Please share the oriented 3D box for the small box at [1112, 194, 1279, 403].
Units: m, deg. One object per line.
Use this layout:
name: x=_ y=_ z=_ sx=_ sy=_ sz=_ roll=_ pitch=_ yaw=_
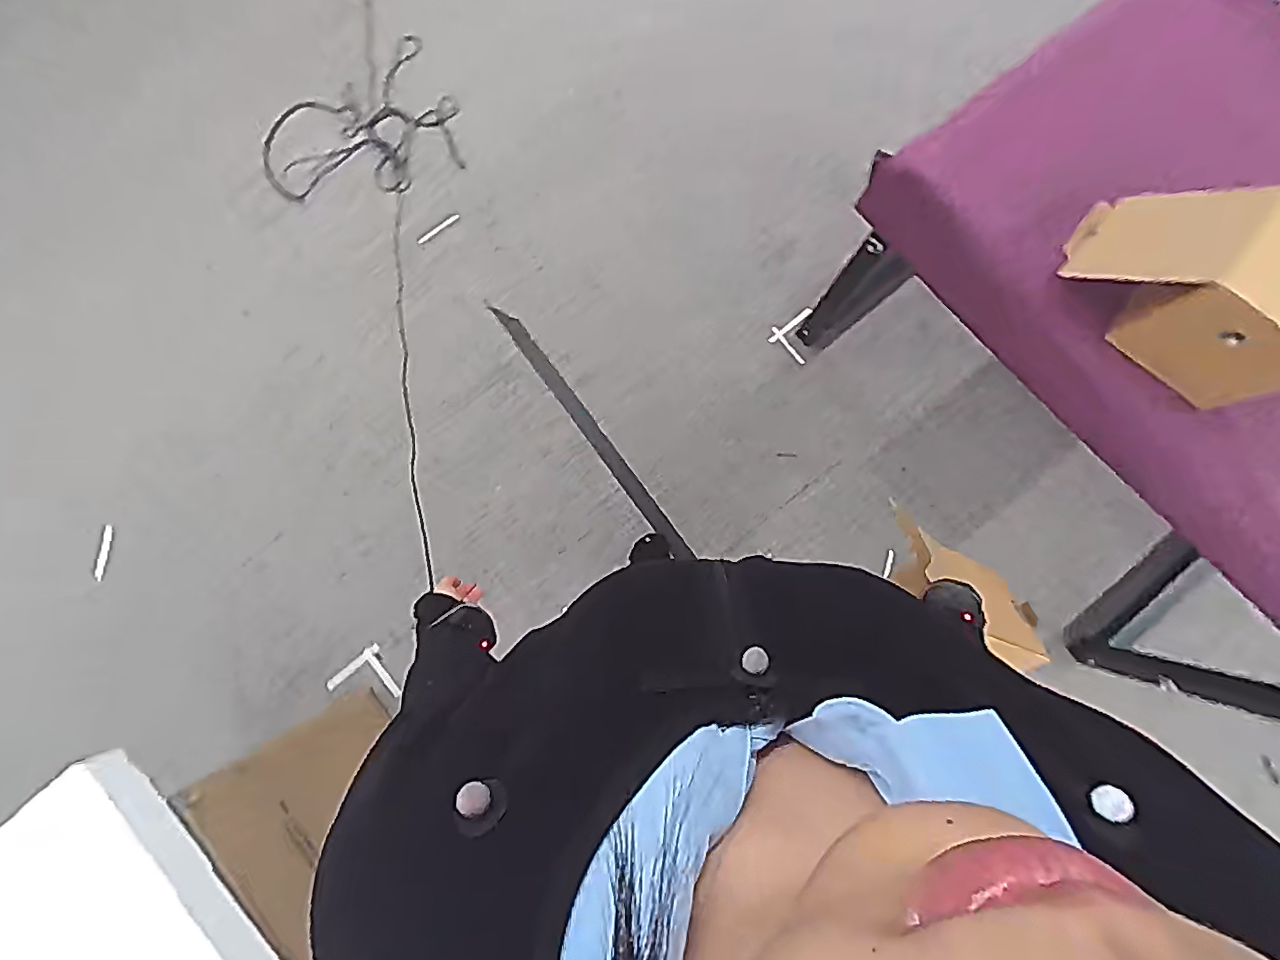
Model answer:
small box: x=0.799 y=-0.227 z=0.717 sx=0.179 sy=0.176 sz=0.168 roll=41 pitch=86 yaw=6
